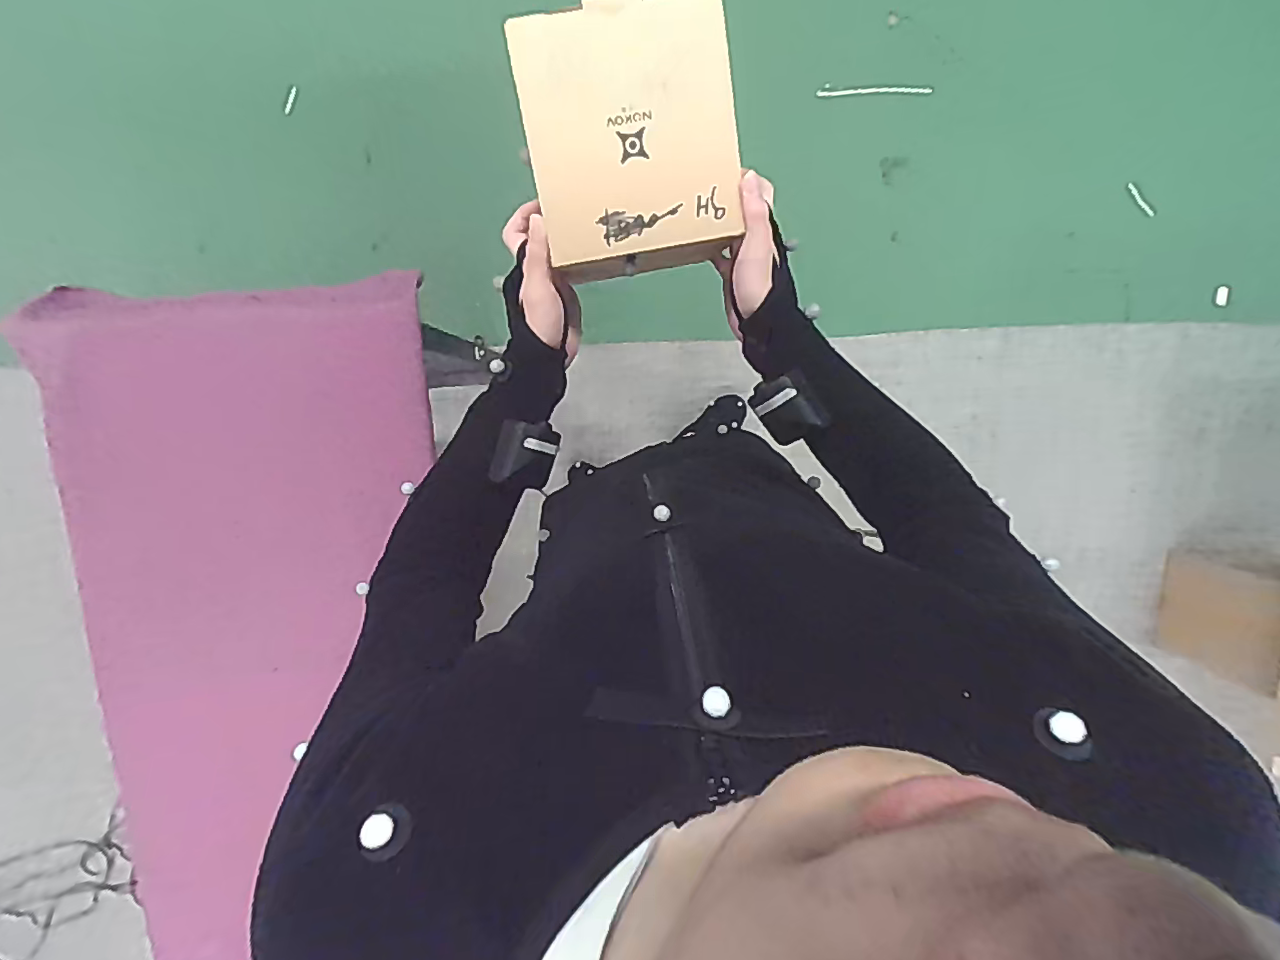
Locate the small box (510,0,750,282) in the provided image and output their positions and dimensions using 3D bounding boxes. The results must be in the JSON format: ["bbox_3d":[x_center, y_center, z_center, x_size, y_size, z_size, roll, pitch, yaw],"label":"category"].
[{"bbox_3d":[-0.009,-0.290,0.490,0.168,0.176,0.179,-10,105,-1],"label":"small box"}]
